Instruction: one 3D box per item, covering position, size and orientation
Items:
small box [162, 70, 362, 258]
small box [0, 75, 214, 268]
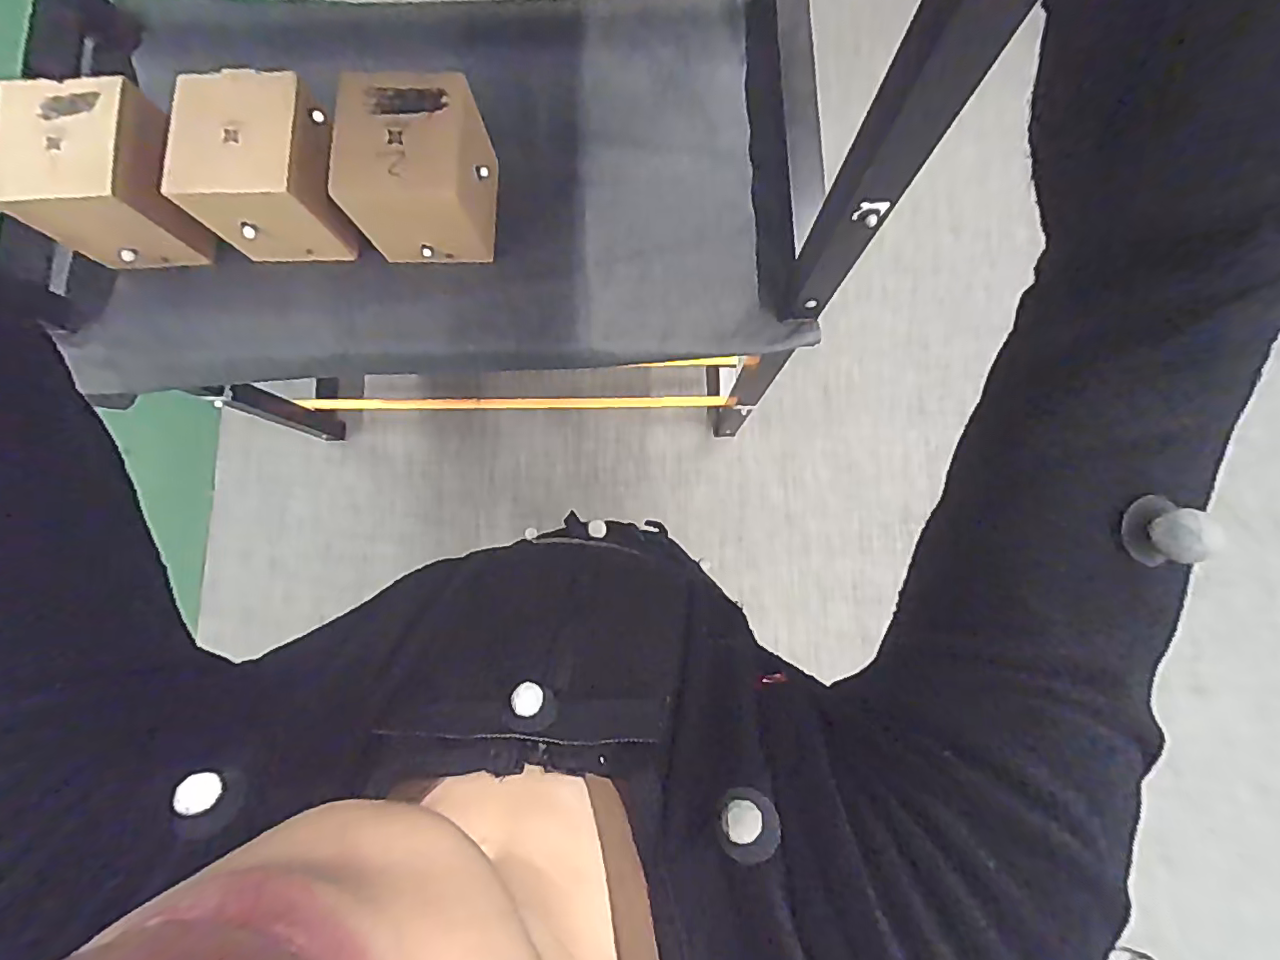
[{"bbox_3d":[-0.523,-0.437,0.774,0.168,0.176,0.179,0,81,1],"label":"small box"},{"bbox_3d":[-0.750,-0.430,0.775,0.168,0.176,0.179,-3,82,1],"label":"small box"}]
